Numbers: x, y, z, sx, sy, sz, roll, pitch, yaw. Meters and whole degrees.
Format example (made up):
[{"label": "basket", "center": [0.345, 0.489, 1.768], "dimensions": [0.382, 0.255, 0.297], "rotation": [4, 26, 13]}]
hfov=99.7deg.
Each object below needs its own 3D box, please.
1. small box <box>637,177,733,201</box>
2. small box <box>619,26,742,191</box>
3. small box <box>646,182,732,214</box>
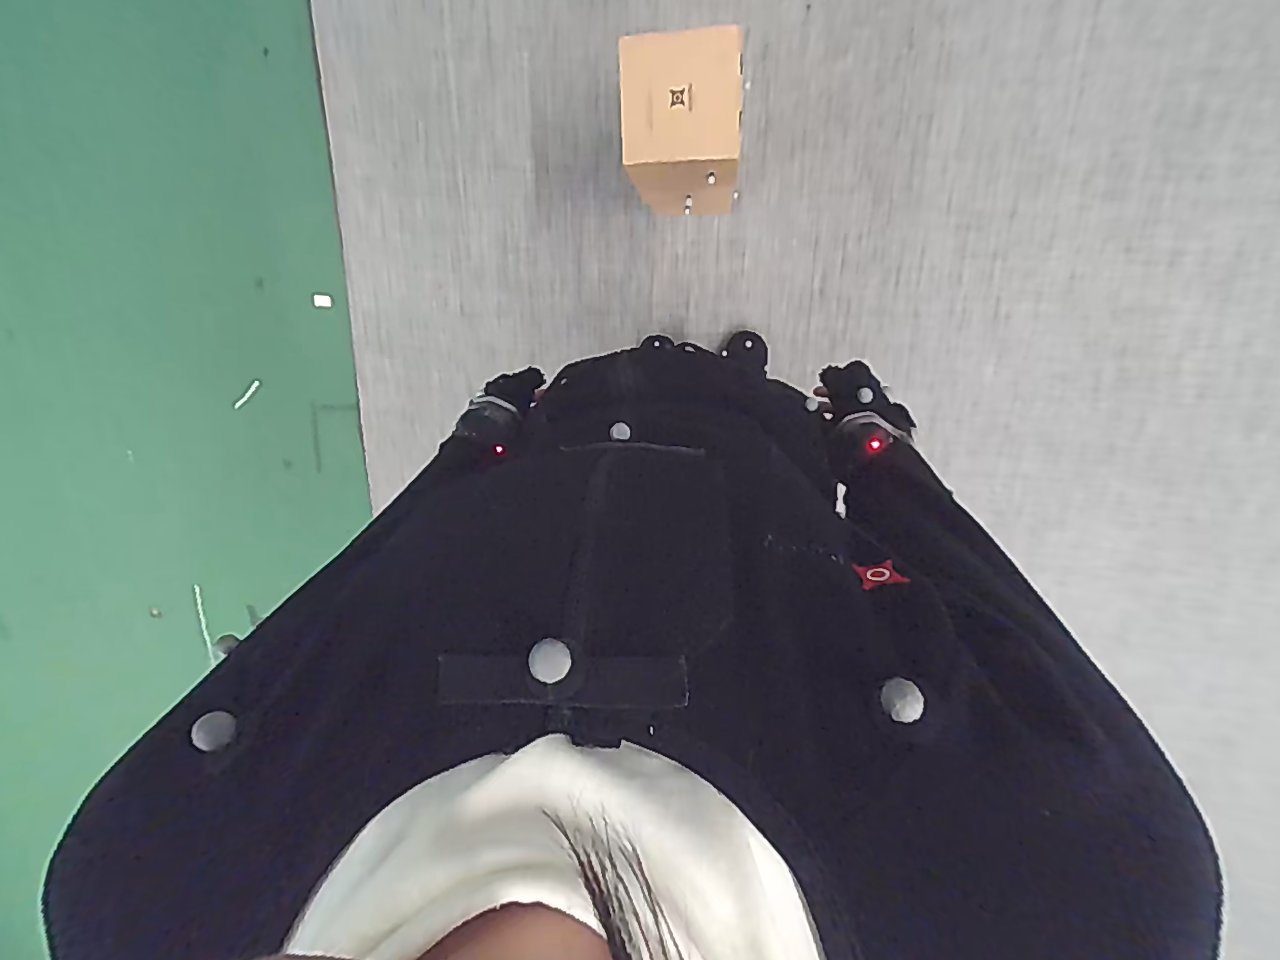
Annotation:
[{"label": "small box", "center": [0.084, -0.628, 1.005], "dimensions": [0.179, 0.176, 0.168], "rotation": [0, 106, 8]}, {"label": "small box", "center": [0.068, -0.570, 0.853], "dimensions": [0.179, 0.176, 0.168], "rotation": [1, 105, 9]}, {"label": "small box", "center": [0.109, -0.676, 1.159], "dimensions": [0.179, 0.176, 0.168], "rotation": [3, 106, 8]}]
